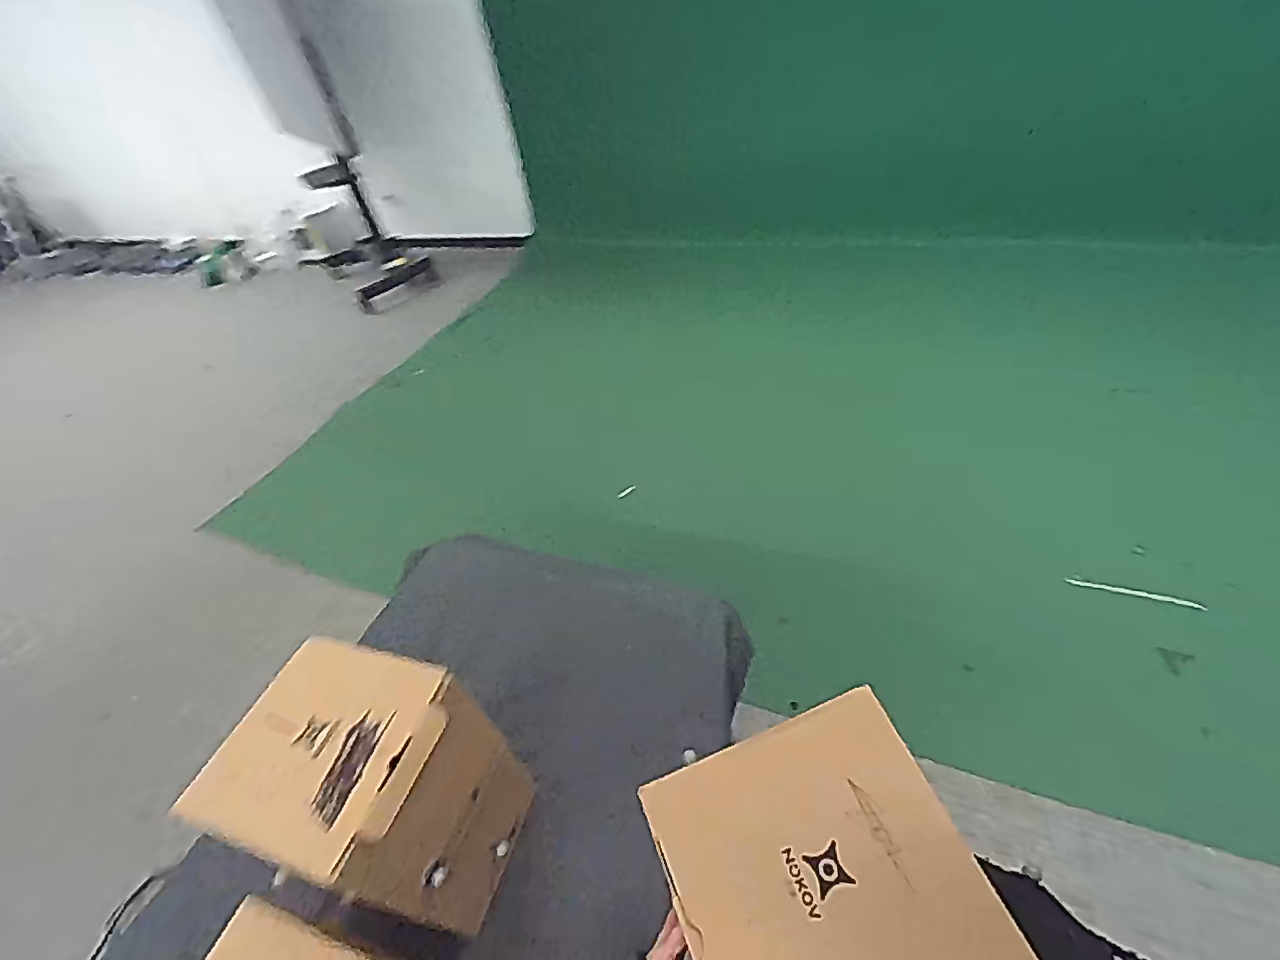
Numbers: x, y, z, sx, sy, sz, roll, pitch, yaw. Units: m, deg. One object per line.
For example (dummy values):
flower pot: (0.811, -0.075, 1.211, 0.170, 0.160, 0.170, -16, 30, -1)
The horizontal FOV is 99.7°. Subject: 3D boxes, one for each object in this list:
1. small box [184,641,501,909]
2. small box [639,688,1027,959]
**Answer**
small box: (-0.265, 0.288, 0.530, 0.179, 0.176, 0.168, 6, 46, 20)
small box: (0.115, 0.280, 0.393, 0.179, 0.176, 0.168, -20, 57, -7)
